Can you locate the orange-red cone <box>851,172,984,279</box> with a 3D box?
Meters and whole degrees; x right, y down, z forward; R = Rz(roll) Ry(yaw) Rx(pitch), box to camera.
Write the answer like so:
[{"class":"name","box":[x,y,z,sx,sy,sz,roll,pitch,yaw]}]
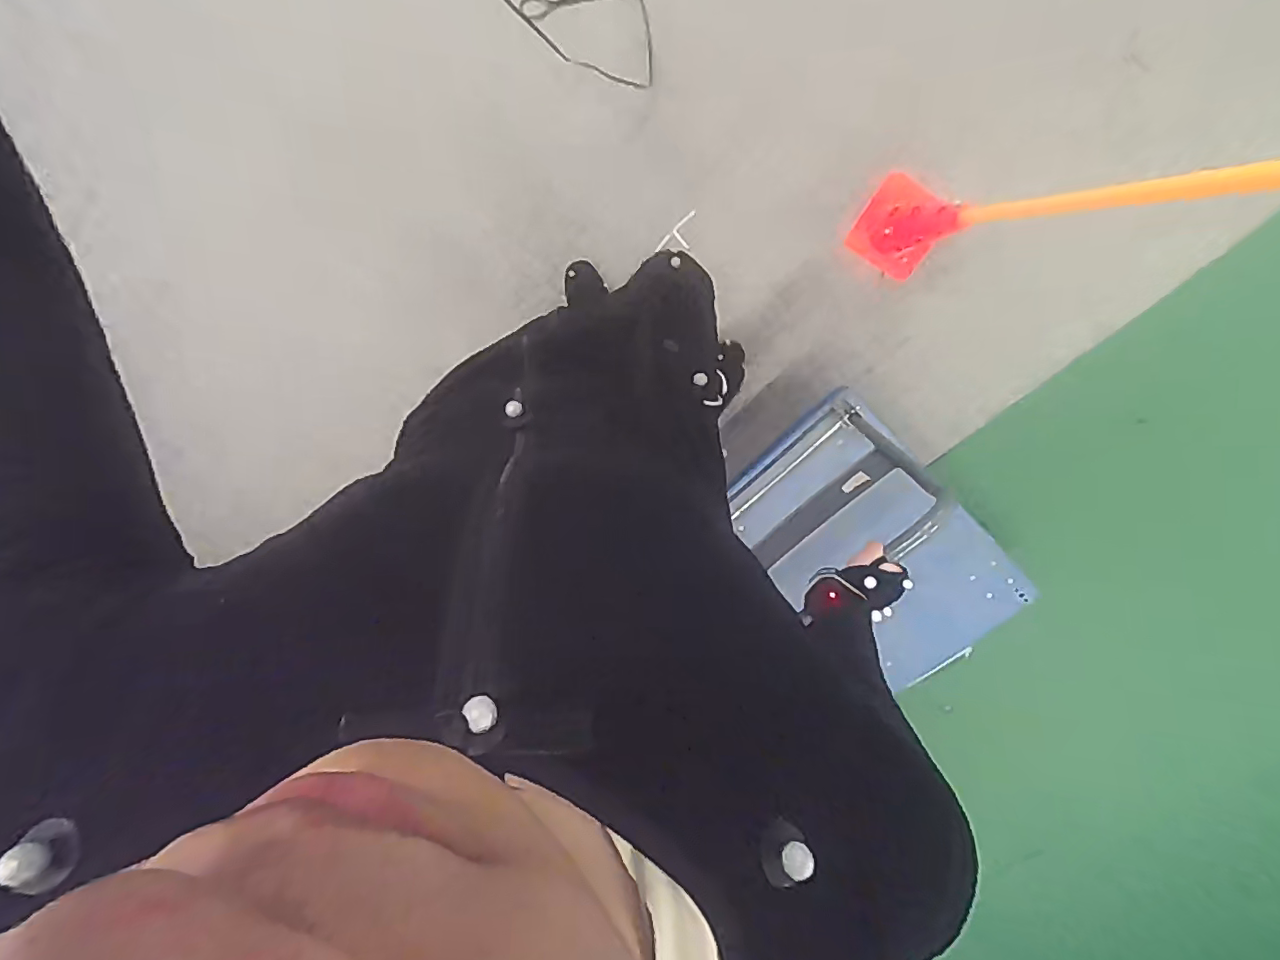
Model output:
[{"class":"orange-red cone","box":[0.654,-0.577,1.207,0.198,0.360,0.199,31,109,-9]}]
